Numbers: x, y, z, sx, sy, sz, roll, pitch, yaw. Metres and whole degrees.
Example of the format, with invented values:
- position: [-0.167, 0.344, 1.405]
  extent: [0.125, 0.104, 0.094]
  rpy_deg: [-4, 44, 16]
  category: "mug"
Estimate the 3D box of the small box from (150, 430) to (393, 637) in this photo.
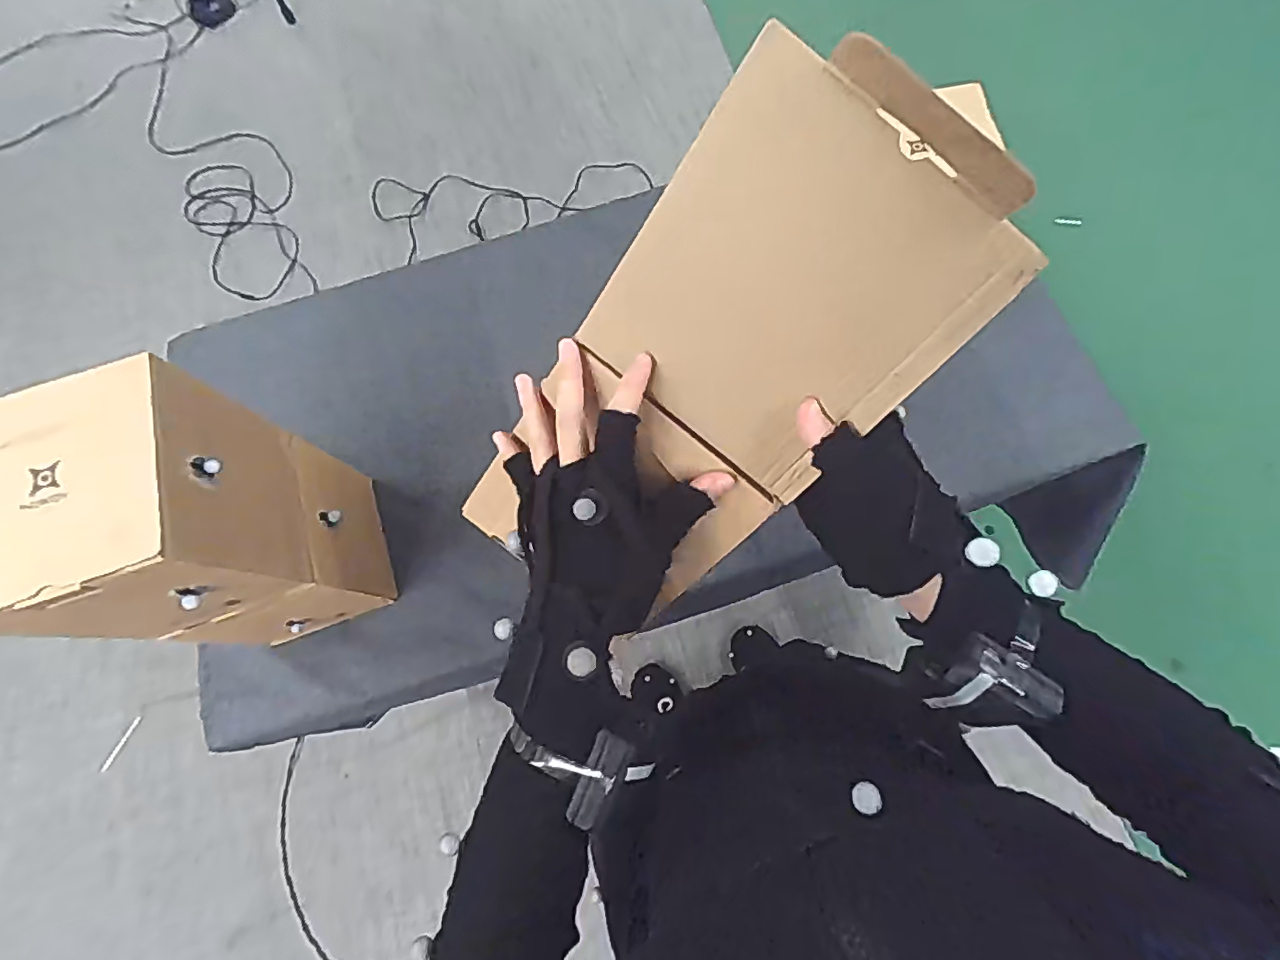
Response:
- position: [-0.417, 0.072, 0.627]
  extent: [0.168, 0.176, 0.179]
  rpy_deg: [-20, 73, -3]
  category: "small box"

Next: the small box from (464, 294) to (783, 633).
- position: [-0.001, -0.020, 0.435]
  extent: [0.168, 0.176, 0.179]
  rpy_deg: [39, 122, -5]
  category: "small box"

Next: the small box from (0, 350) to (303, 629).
- position: [-0.428, 0.023, 0.472]
  extent: [0.168, 0.176, 0.179]
  rpy_deg: [-18, 72, -3]
  category: "small box"
